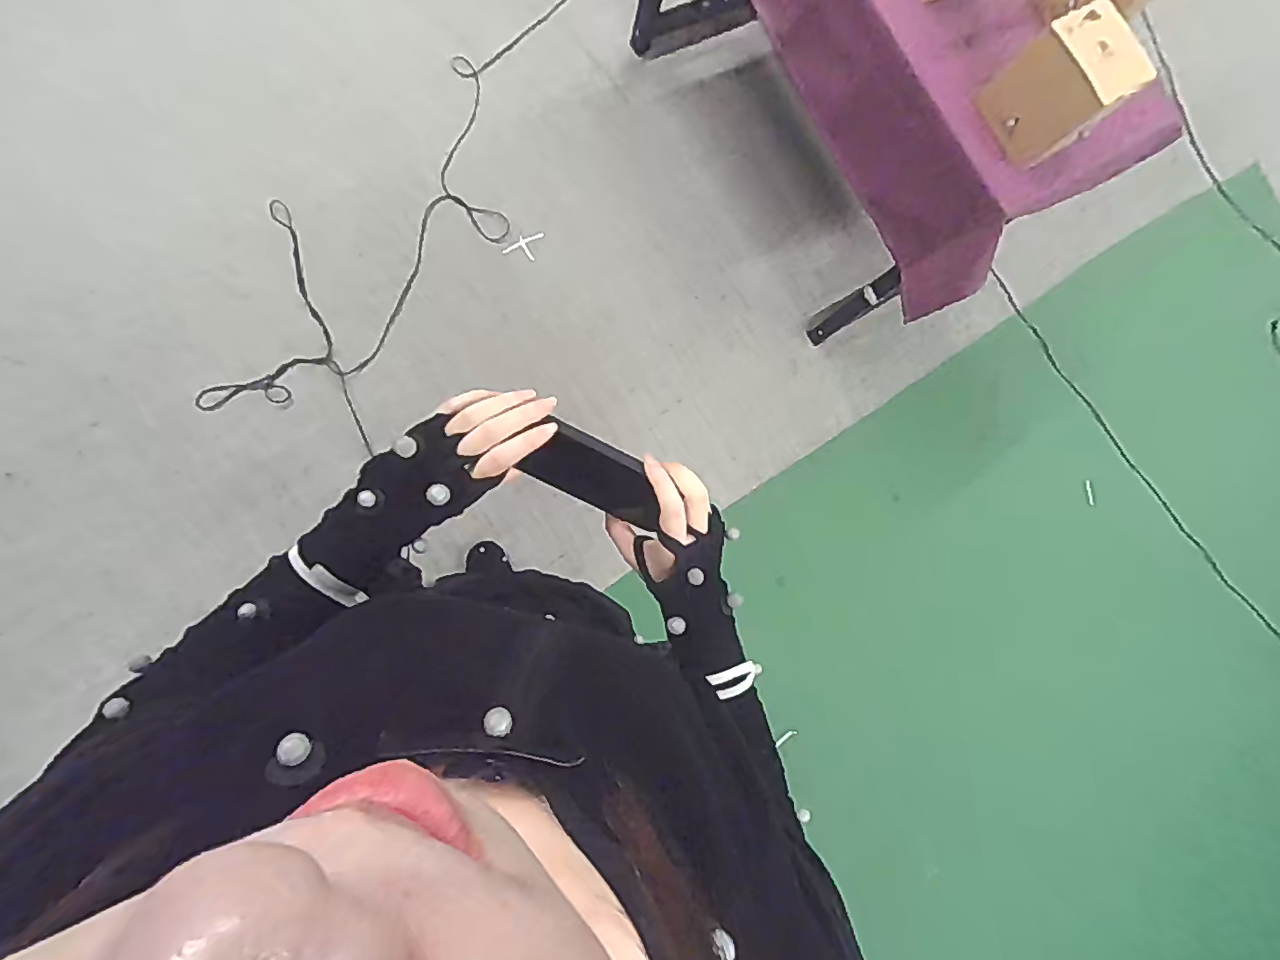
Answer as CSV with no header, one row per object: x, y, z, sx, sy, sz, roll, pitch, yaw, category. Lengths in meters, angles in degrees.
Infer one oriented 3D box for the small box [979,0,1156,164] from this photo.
0.803,-0.743,1.031,0.168,0.176,0.179,-32,91,-15,small box

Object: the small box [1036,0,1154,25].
0.973,-1.034,1.109,0.179,0.176,0.168,-34,90,-14,small box
